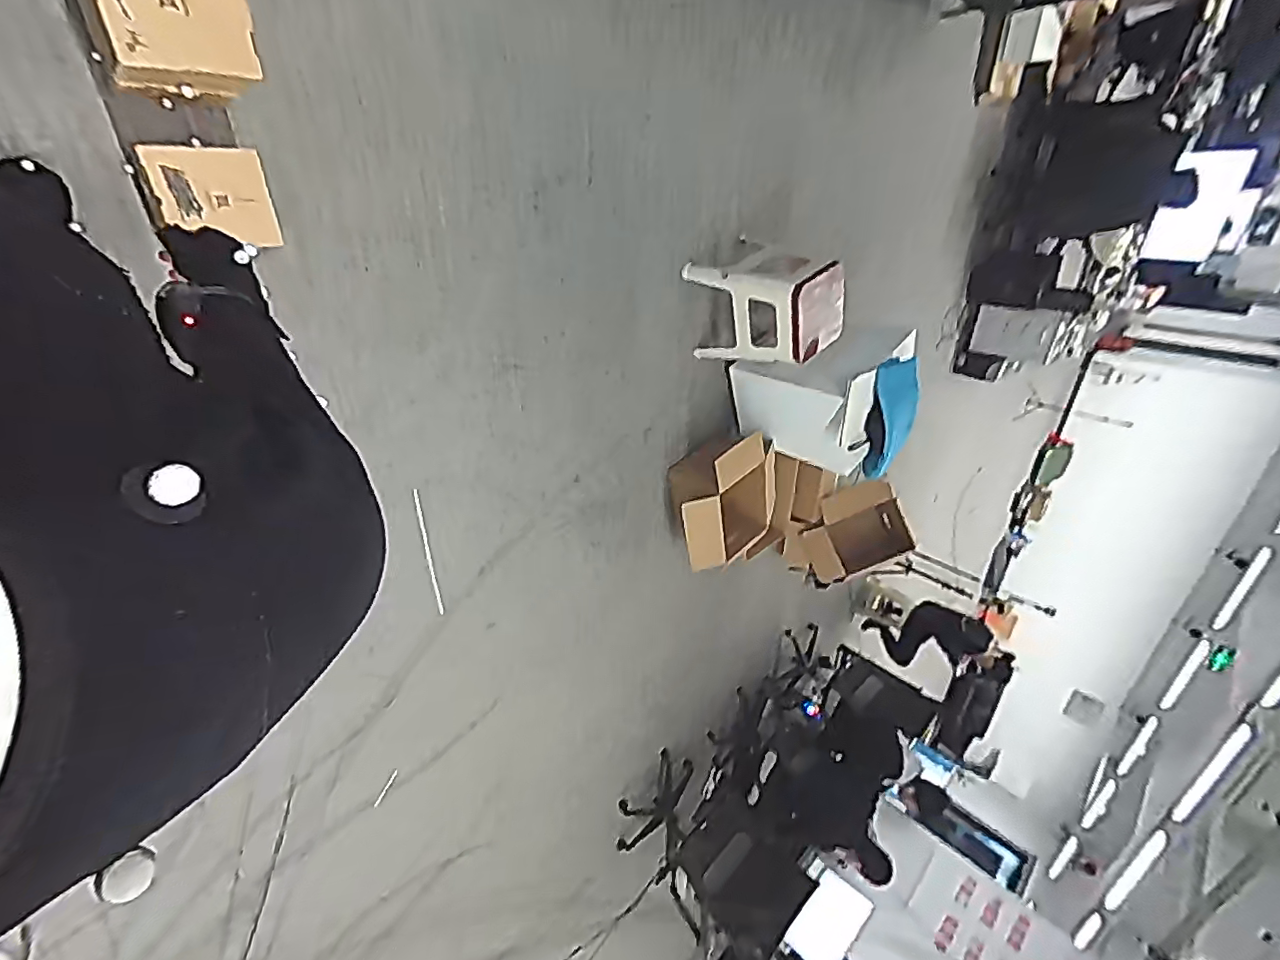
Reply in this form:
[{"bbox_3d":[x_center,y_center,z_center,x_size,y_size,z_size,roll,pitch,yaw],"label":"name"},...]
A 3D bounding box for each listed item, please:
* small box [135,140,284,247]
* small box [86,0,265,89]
[{"bbox_3d":[-0.816,-0.537,1.024,0.179,0.176,0.168,-24,127,-37],"label":"small box"},{"bbox_3d":[-0.702,-0.700,0.807,0.179,0.176,0.168,-23,126,-38],"label":"small box"}]
